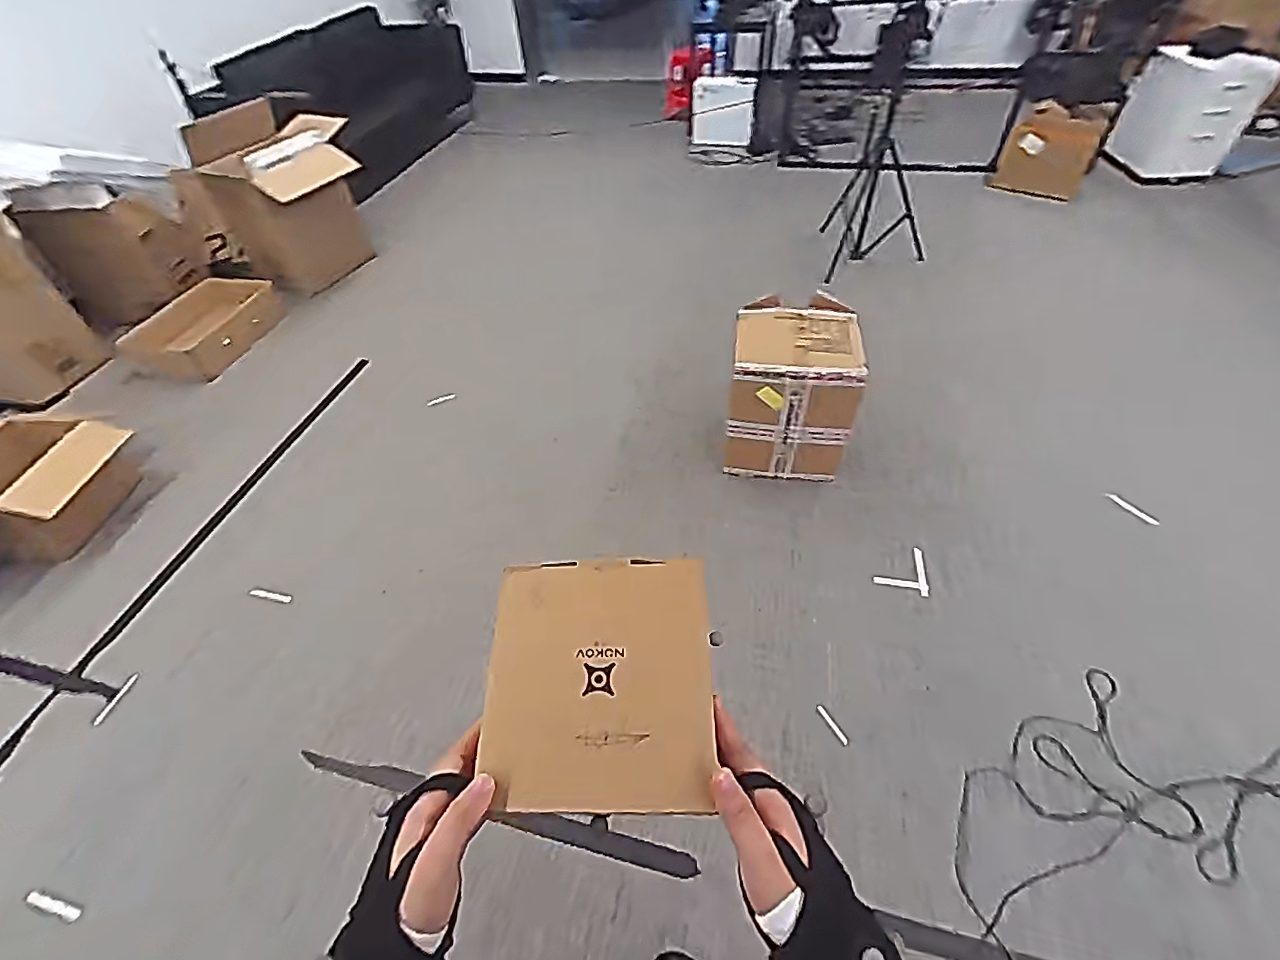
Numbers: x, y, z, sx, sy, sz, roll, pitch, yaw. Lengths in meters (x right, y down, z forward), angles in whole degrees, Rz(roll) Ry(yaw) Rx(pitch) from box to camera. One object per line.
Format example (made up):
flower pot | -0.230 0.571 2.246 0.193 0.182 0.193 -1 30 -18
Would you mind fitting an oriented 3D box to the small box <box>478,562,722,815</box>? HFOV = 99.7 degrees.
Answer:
small box | -0.022 0.184 0.467 0.168 0.176 0.179 -1 59 3
